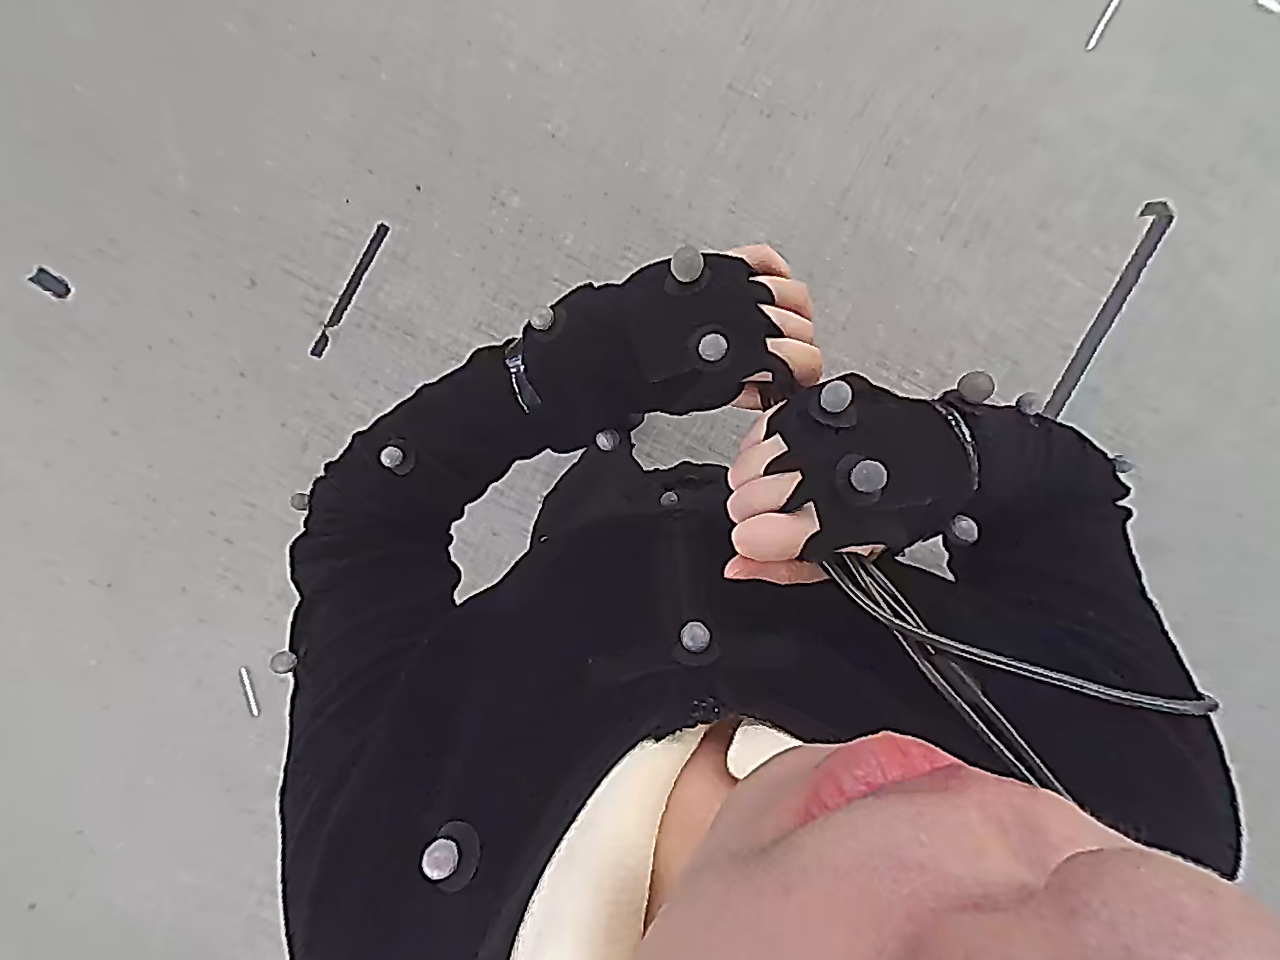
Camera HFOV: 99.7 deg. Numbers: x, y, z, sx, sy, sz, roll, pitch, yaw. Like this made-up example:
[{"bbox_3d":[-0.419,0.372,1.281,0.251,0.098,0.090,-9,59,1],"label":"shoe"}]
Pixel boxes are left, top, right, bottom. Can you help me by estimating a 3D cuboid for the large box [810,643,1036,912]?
[{"bbox_3d":[0.611,0.636,1.222,0.320,0.320,0.408,-9,94,-1],"label":"large box"}]
